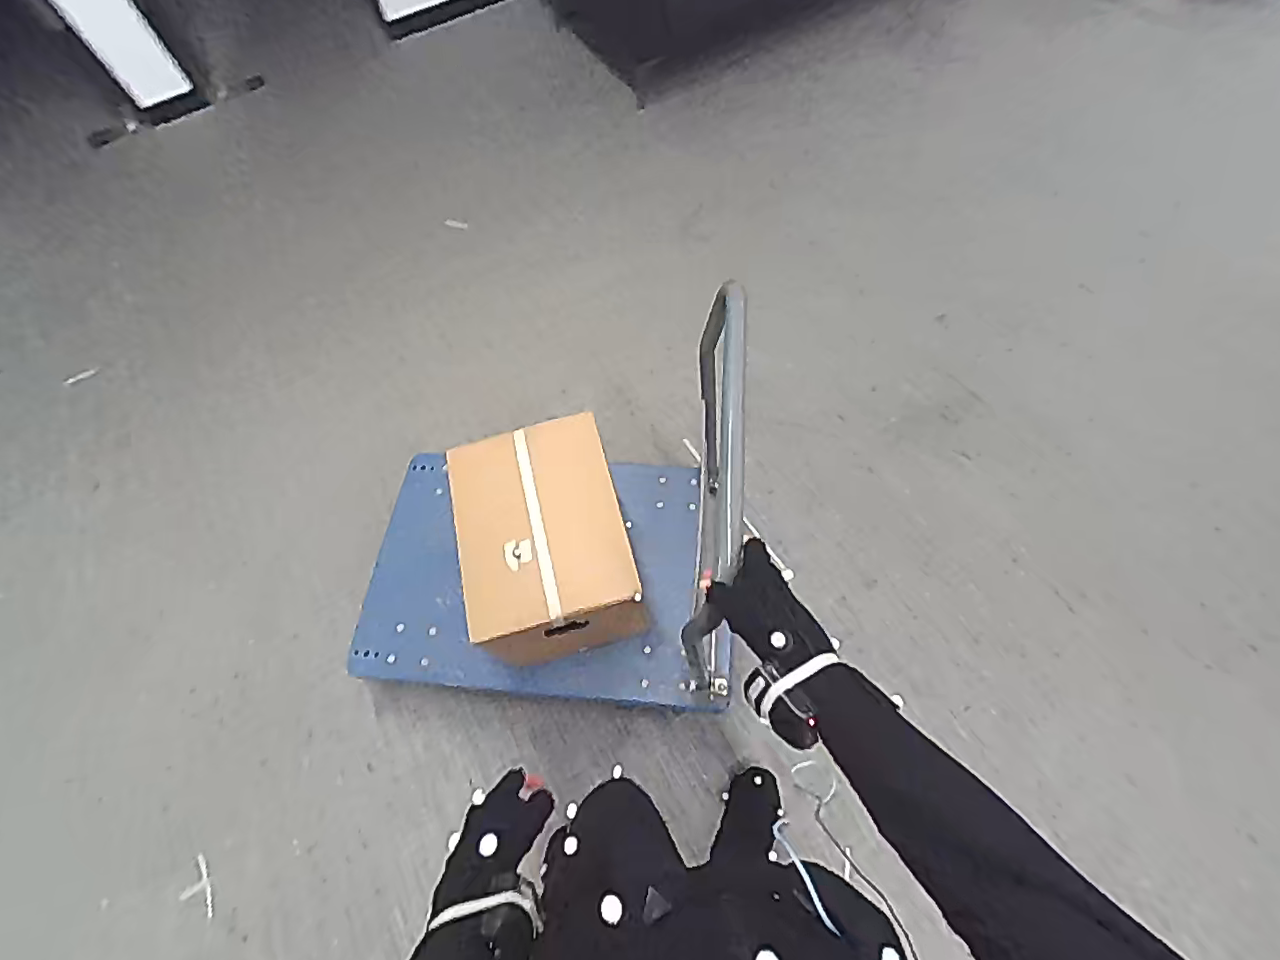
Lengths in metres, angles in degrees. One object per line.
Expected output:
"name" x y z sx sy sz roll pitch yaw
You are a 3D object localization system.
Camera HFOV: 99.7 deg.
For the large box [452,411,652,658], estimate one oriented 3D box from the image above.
"large box" -0.178 0.127 1.168 0.320 0.320 0.408 -16 64 -3
